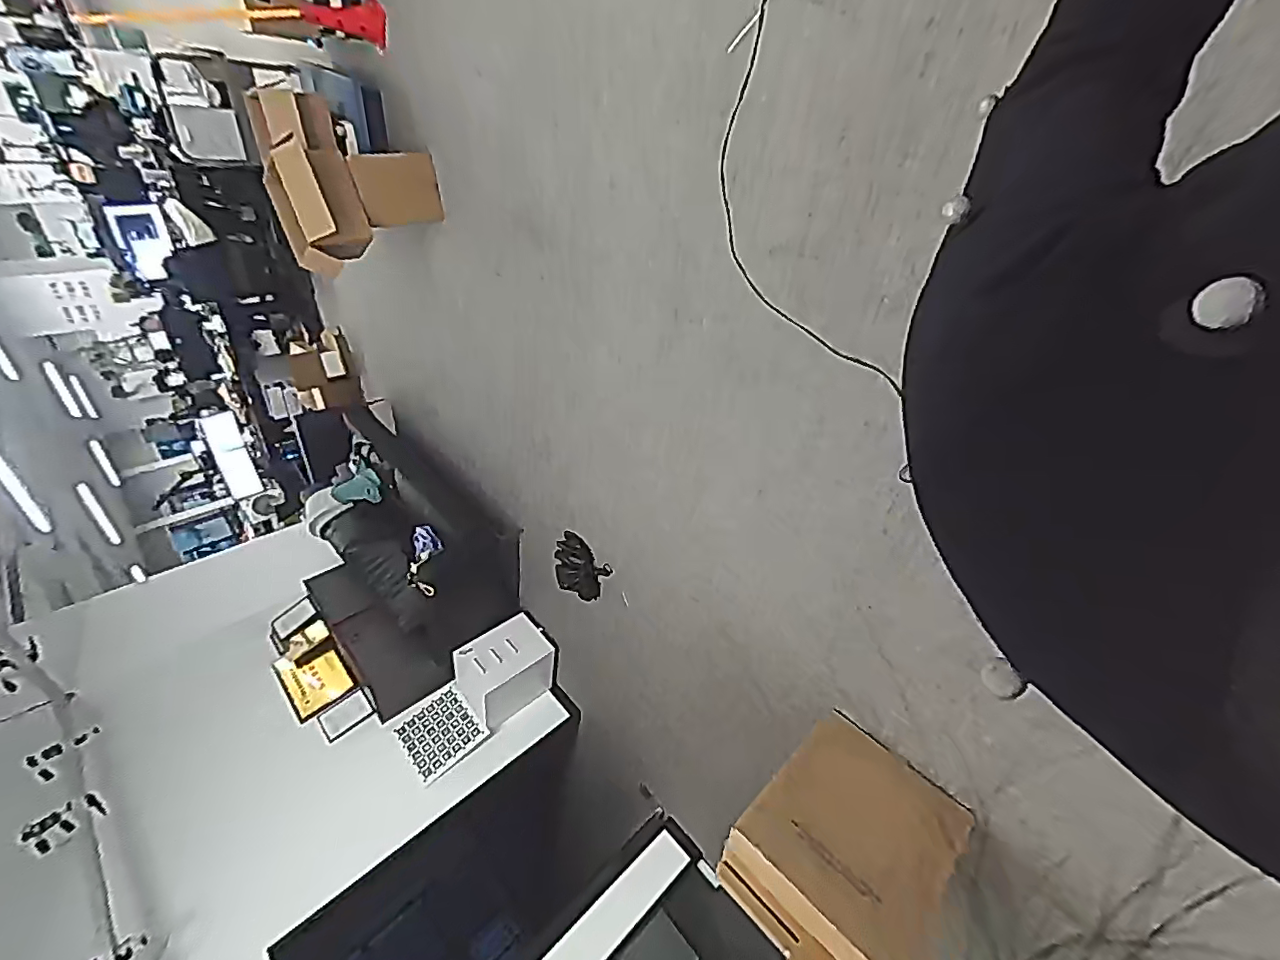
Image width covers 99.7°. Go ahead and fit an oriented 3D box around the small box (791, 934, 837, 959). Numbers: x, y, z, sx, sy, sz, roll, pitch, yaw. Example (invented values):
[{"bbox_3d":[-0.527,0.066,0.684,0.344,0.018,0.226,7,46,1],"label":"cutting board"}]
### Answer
[{"bbox_3d":[0.492,1.445,1.515,0.179,0.176,0.168,32,123,35],"label":"small box"}]
